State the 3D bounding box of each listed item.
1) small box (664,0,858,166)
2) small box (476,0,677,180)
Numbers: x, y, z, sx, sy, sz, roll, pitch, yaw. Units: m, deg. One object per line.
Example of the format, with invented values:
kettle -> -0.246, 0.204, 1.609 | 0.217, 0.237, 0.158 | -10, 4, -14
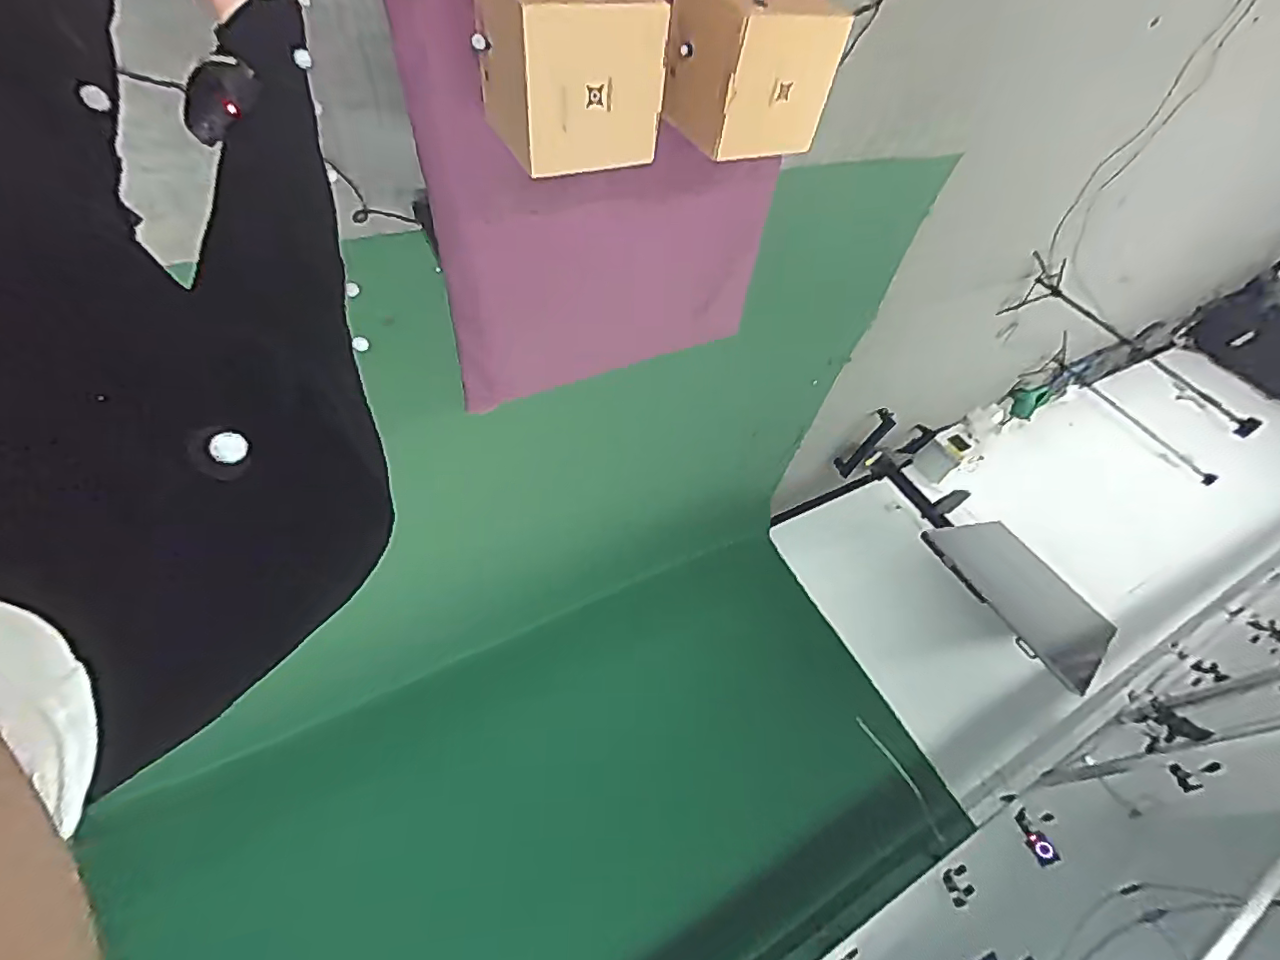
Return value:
small box -> 0.158, -0.574, 0.762 | 0.179, 0.176, 0.168 | -18, 149, -21
small box -> -0.082, -0.494, 0.655 | 0.179, 0.176, 0.168 | -20, 148, -22
